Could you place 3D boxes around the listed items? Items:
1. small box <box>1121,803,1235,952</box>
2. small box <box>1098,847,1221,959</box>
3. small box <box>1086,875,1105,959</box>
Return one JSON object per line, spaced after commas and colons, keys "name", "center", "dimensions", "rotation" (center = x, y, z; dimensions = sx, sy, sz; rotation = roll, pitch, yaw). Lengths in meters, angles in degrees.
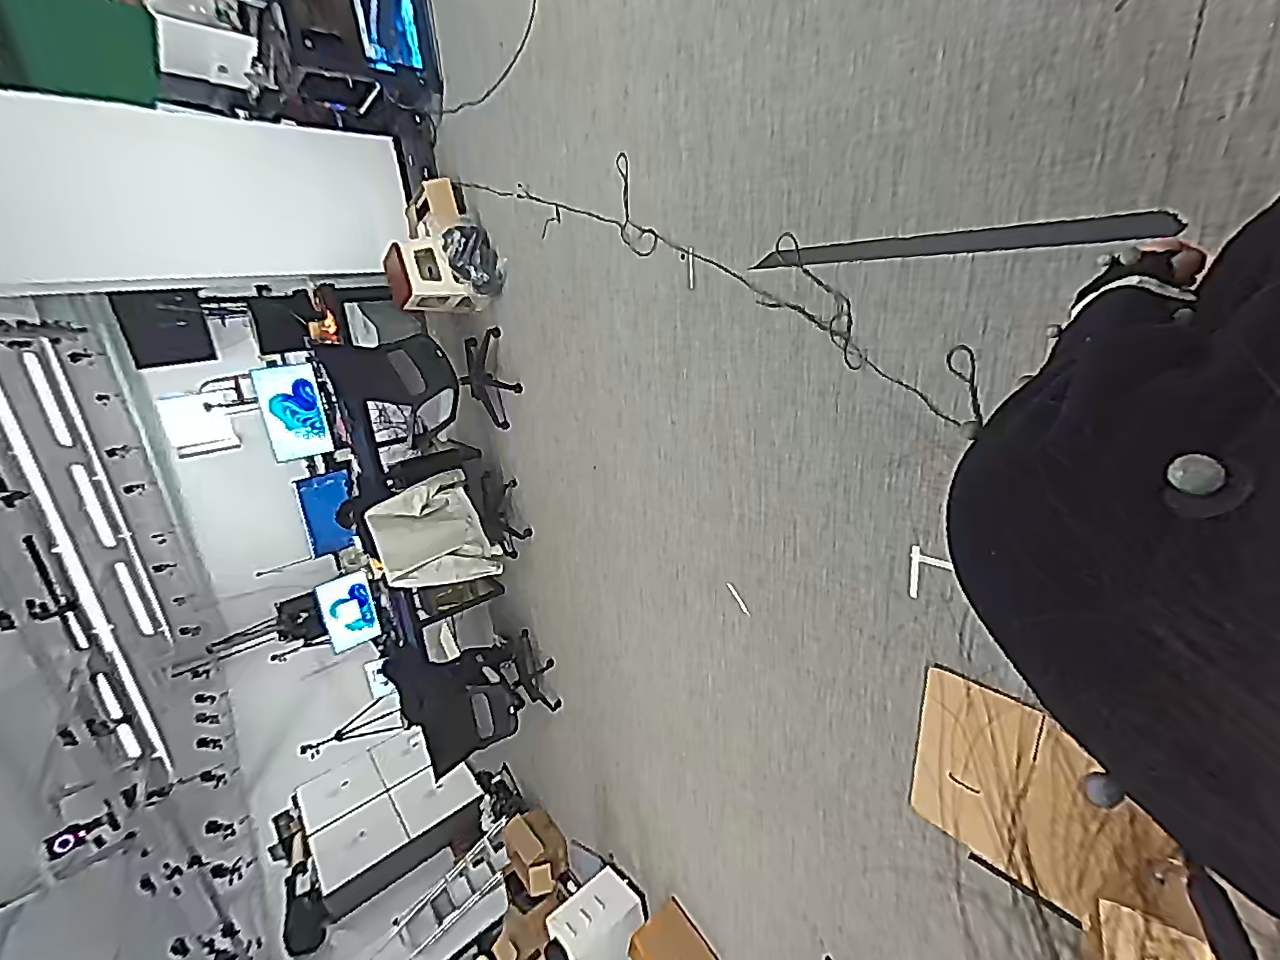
{"name": "small box", "center": [1.217, 0.882, 1.222], "dimensions": [0.168, 0.176, 0.179], "rotation": [-2, 103, 52]}
{"name": "small box", "center": [1.088, 0.931, 1.131], "dimensions": [0.168, 0.176, 0.179], "rotation": [-2, 104, 51]}
{"name": "small box", "center": [1.225, 1.141, 1.332], "dimensions": [0.168, 0.176, 0.179], "rotation": [5, 109, 50]}
